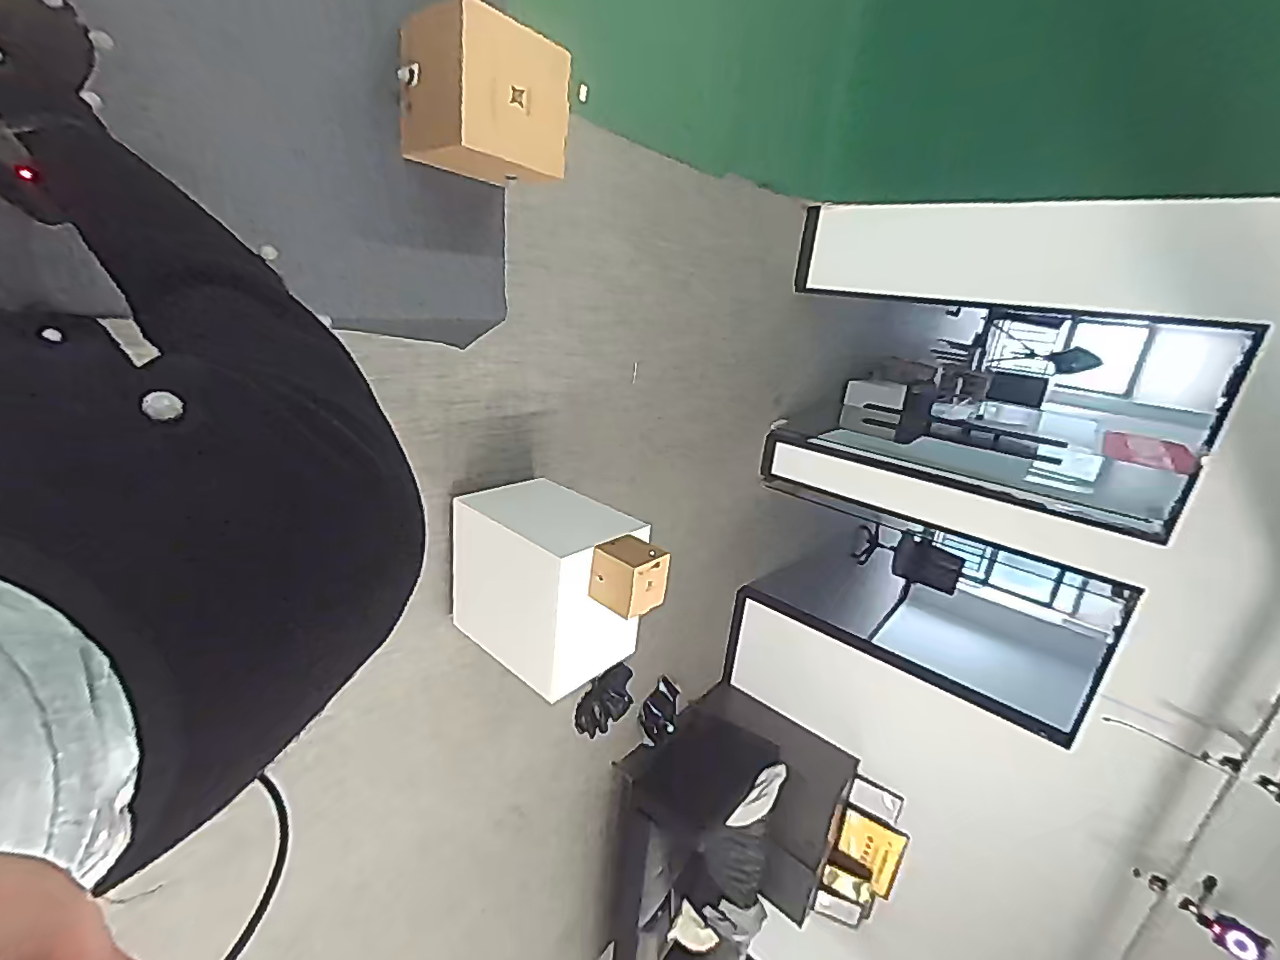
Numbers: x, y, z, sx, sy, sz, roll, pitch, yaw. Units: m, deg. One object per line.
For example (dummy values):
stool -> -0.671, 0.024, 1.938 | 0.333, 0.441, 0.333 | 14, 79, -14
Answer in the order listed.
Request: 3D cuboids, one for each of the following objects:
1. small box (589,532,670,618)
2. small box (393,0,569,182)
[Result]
small box -> -0.035, 0.281, 1.638 | 0.168, 0.176, 0.179 | -15, 120, -48
small box -> -0.225, -0.533, 0.767 | 0.179, 0.176, 0.168 | -14, 117, -47
